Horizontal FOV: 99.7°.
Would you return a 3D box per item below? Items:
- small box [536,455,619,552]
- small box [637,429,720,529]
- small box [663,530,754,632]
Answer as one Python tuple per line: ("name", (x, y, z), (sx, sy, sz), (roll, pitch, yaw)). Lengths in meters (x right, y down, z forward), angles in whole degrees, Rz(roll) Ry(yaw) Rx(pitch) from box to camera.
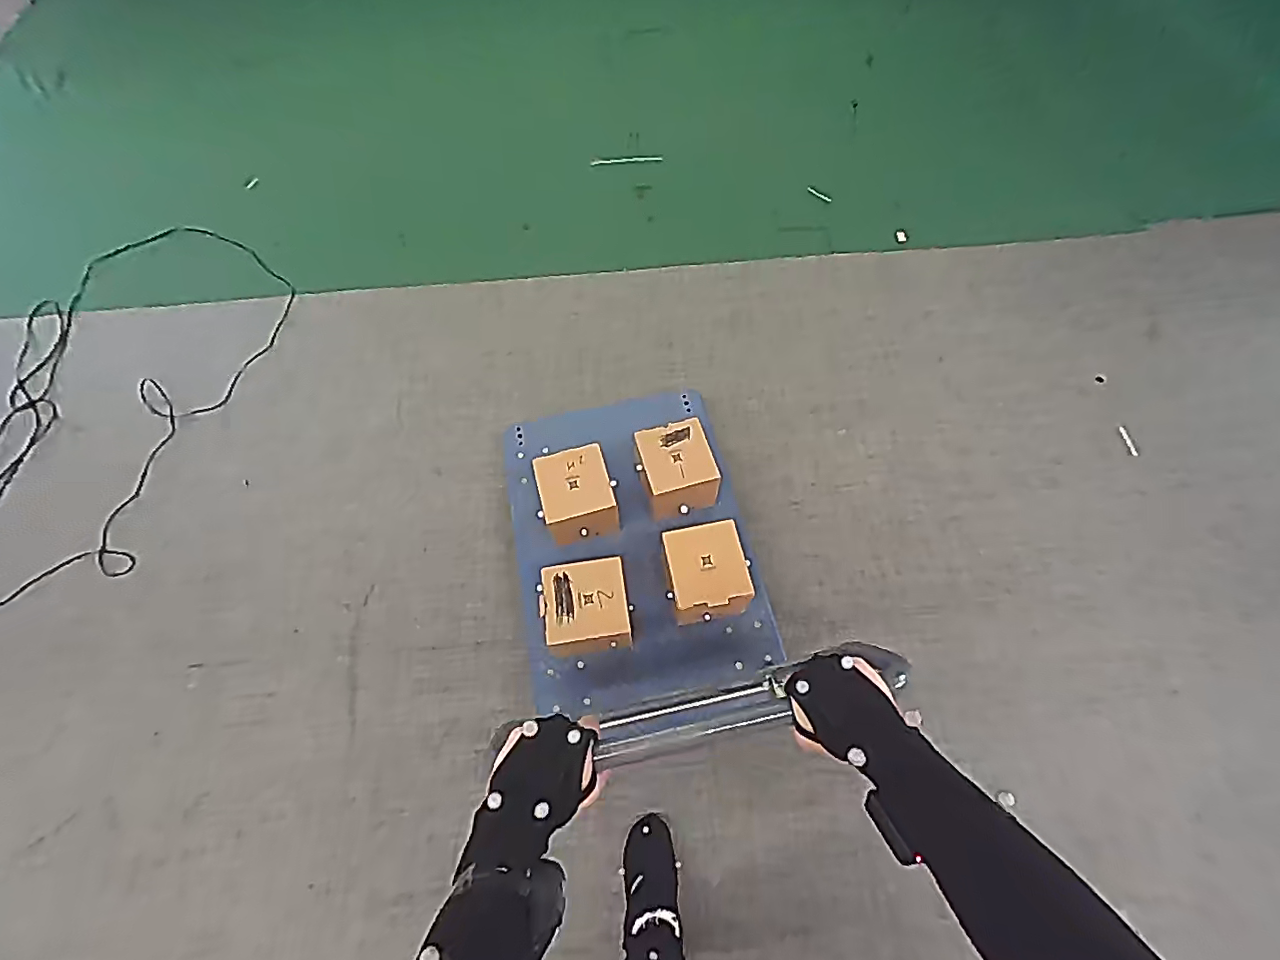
("small box", (-0.150, 0.066, 1.347), (0.168, 0.176, 0.179), (-14, 64, -7))
("small box", (0.092, 0.001, 1.374), (0.168, 0.176, 0.179), (-15, 64, -5))
("small box", (0.149, 0.237, 1.254), (0.168, 0.176, 0.179), (-11, 64, -4))
